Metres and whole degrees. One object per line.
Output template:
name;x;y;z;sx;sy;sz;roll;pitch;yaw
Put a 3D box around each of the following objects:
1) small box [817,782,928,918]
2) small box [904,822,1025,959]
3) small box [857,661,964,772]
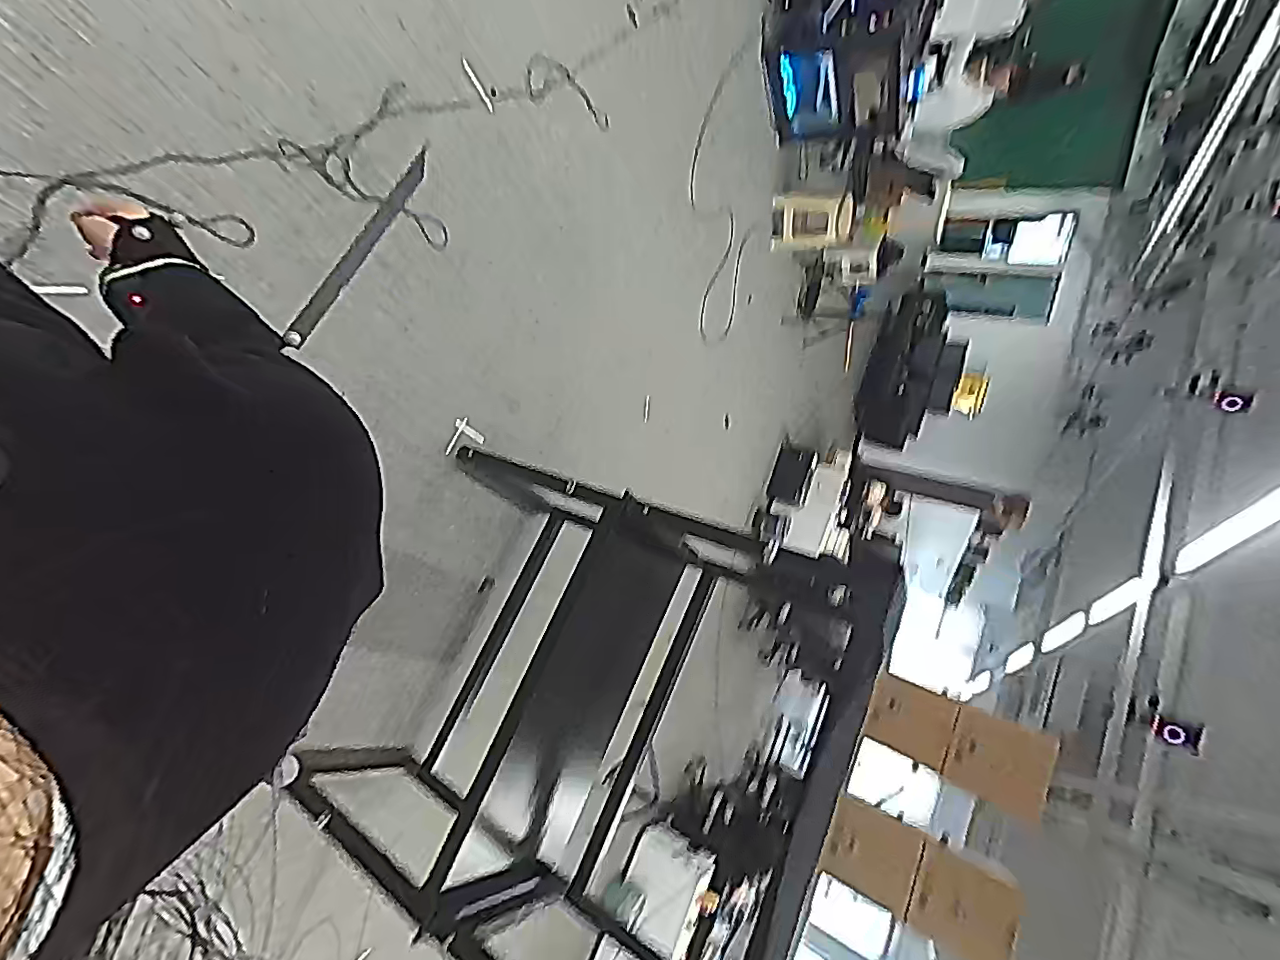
small box;0.483;0.762;1.139;0.168;0.176;0.179;-65;152;-16
small box;0.622;0.808;1.064;0.168;0.176;0.179;-64;151;-15
small box;0.593;0.522;1.206;0.168;0.176;0.179;-64;151;-13
